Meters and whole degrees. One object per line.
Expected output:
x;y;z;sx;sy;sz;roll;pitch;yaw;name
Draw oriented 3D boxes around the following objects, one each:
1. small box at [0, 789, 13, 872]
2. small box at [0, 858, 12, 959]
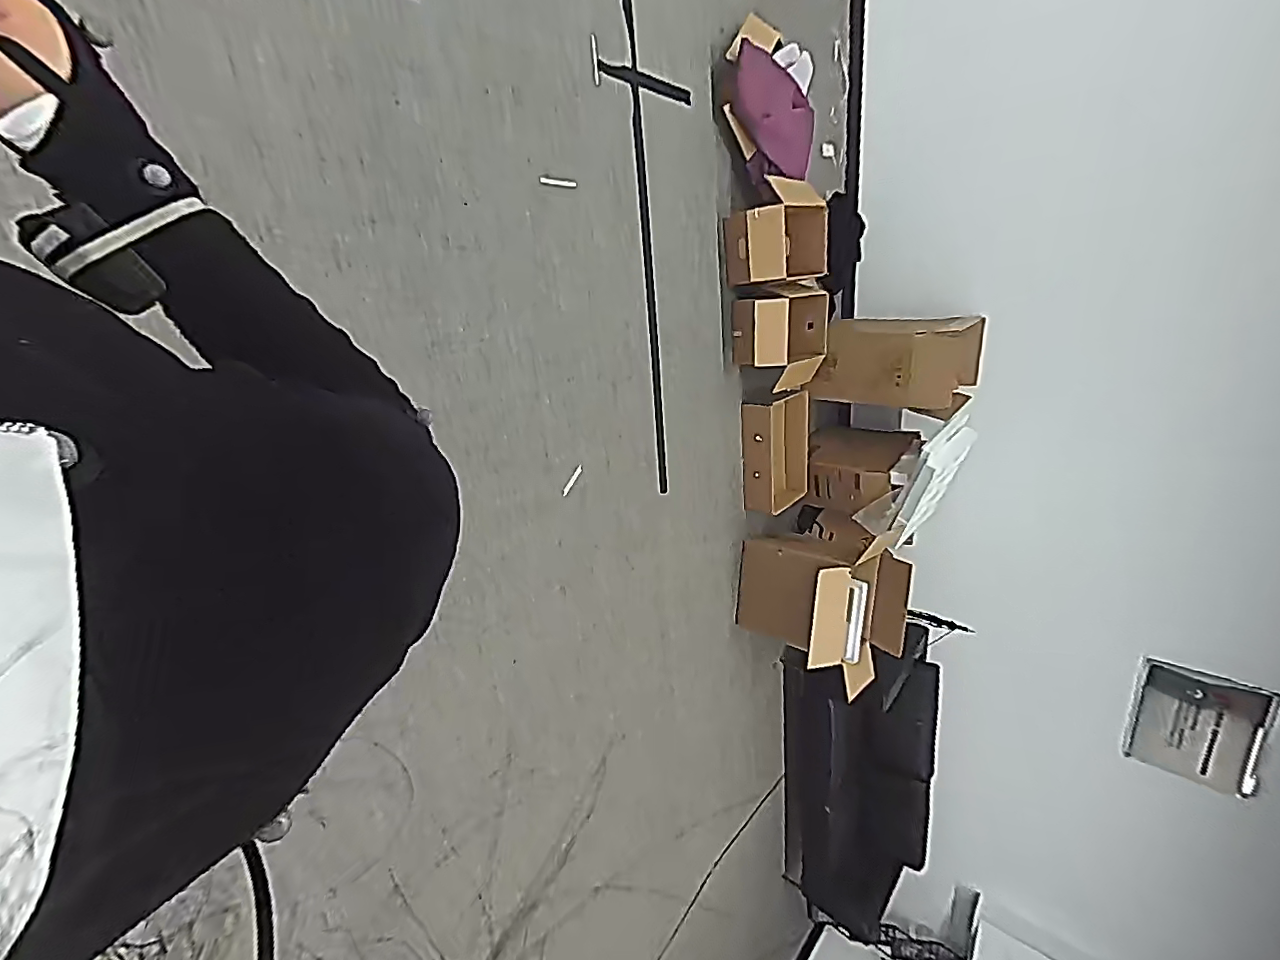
-1.152;0.576;0.865;0.168;0.176;0.179;-18;112;-45;small box
-1.033;0.618;0.757;0.168;0.176;0.179;-24;116;-43;small box
